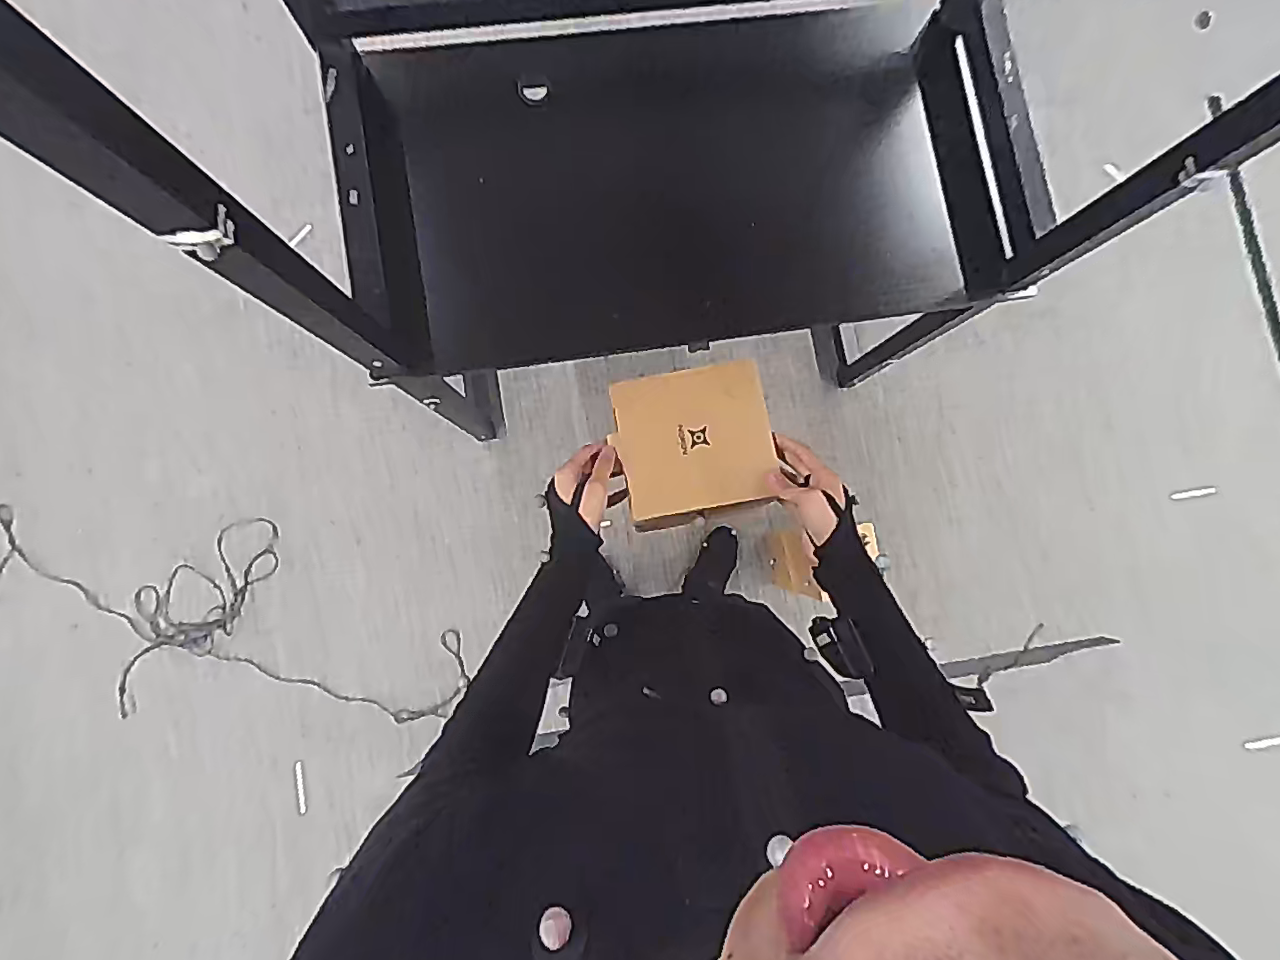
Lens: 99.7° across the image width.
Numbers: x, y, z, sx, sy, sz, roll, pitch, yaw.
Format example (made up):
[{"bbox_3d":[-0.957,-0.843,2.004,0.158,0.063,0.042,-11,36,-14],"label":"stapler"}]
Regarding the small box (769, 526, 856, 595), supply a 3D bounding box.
[{"bbox_3d":[0.495,0.228,1.575,0.179,0.176,0.168,-11,85,-3],"label":"small box"}]
